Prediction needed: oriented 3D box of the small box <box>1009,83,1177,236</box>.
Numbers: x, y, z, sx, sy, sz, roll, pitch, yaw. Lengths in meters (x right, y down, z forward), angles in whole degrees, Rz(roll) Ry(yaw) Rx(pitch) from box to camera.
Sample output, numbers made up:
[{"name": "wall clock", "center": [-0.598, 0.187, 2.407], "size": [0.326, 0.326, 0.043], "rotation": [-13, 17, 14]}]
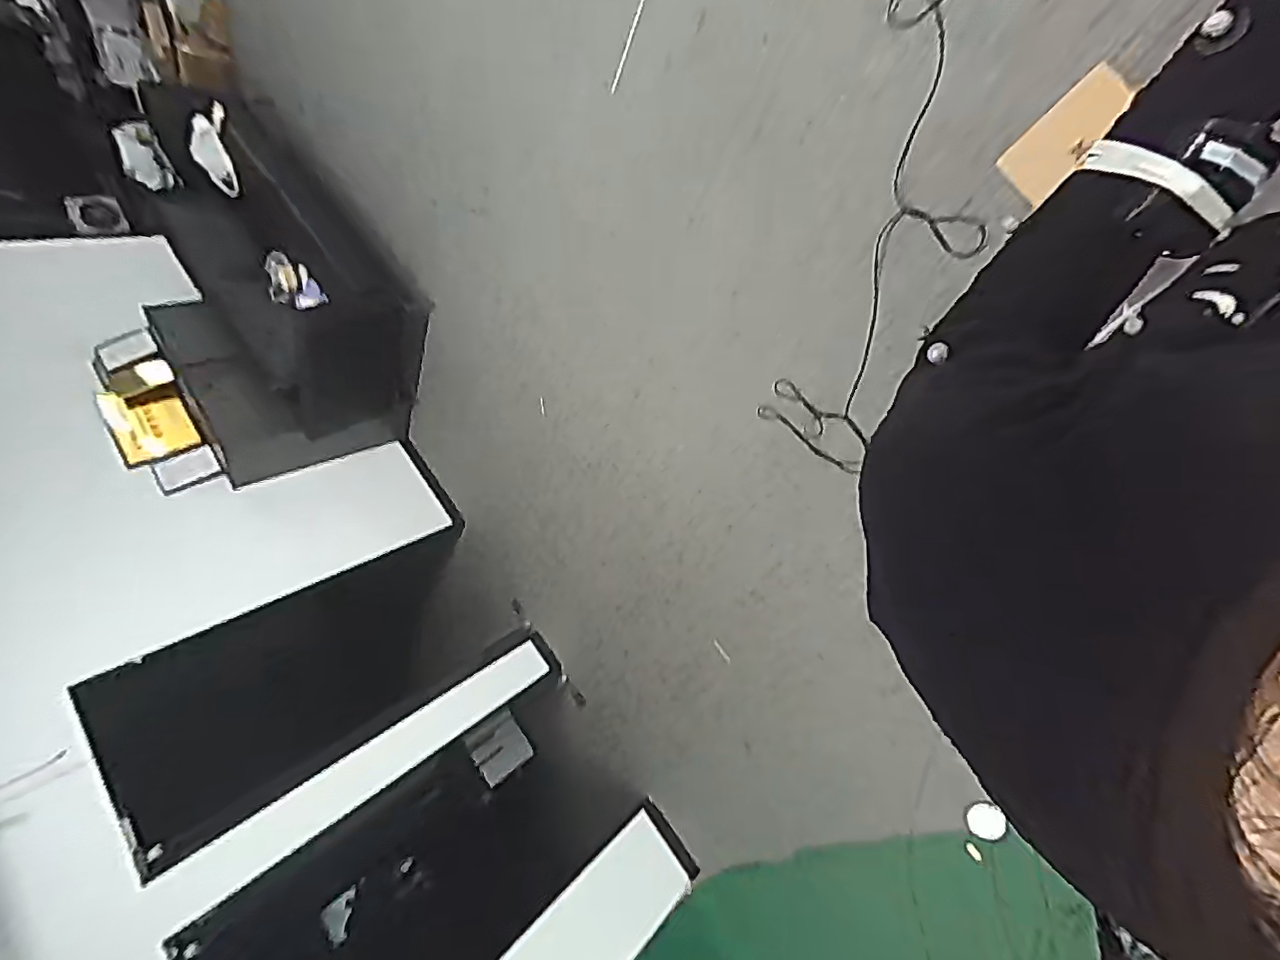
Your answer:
[{"name": "small box", "center": [0.835, -0.579, 0.995], "size": [0.168, 0.176, 0.179], "rotation": [53, 138, 11]}]
